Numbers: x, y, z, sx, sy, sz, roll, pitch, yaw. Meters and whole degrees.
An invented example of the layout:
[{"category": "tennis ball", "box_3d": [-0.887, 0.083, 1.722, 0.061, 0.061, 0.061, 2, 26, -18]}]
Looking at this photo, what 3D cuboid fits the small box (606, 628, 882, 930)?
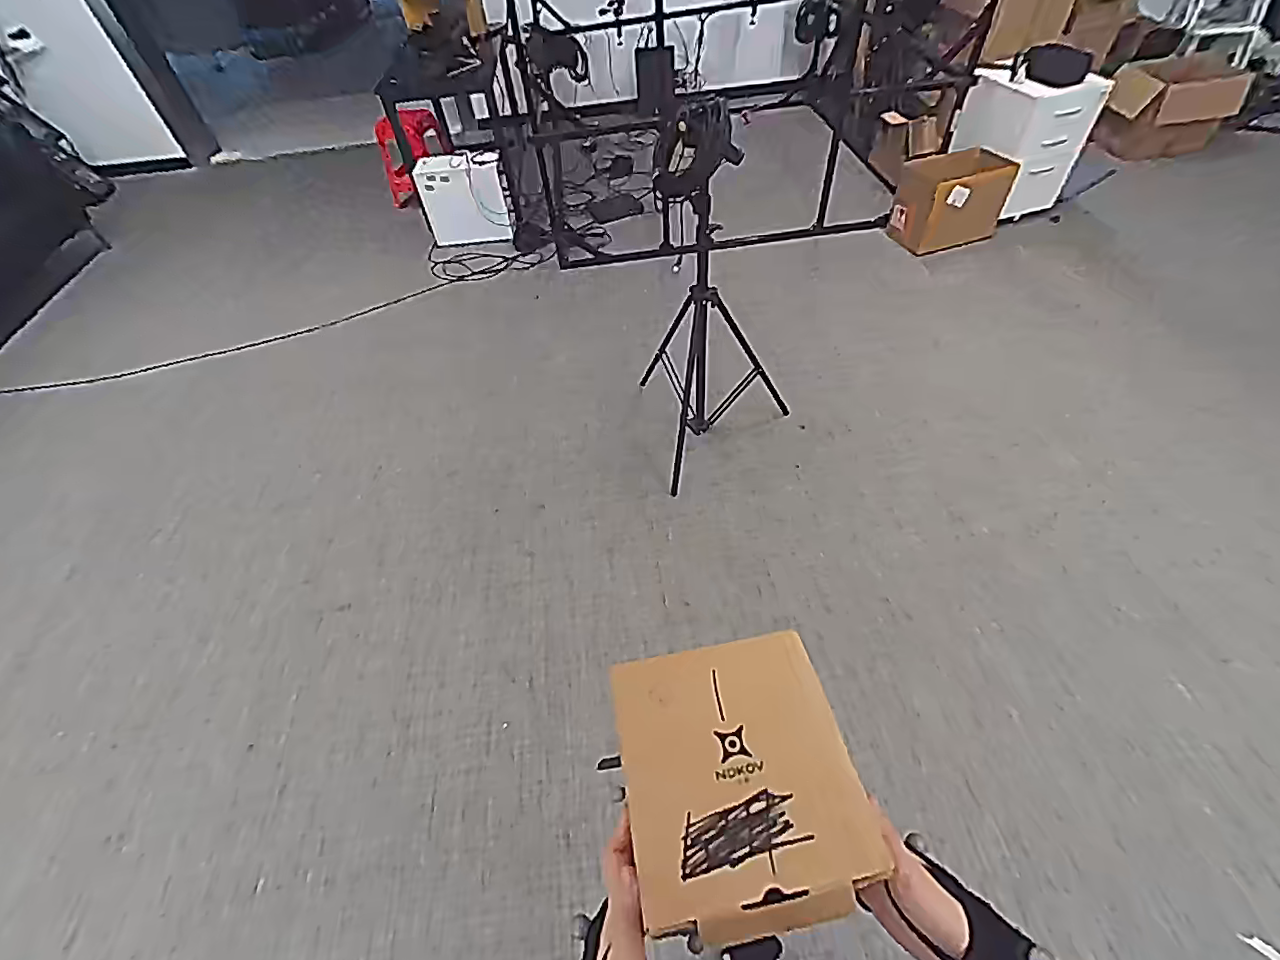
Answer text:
[{"category": "small box", "box_3d": [0.070, 0.255, 0.459, 0.168, 0.176, 0.179, -10, 48, -5]}]
